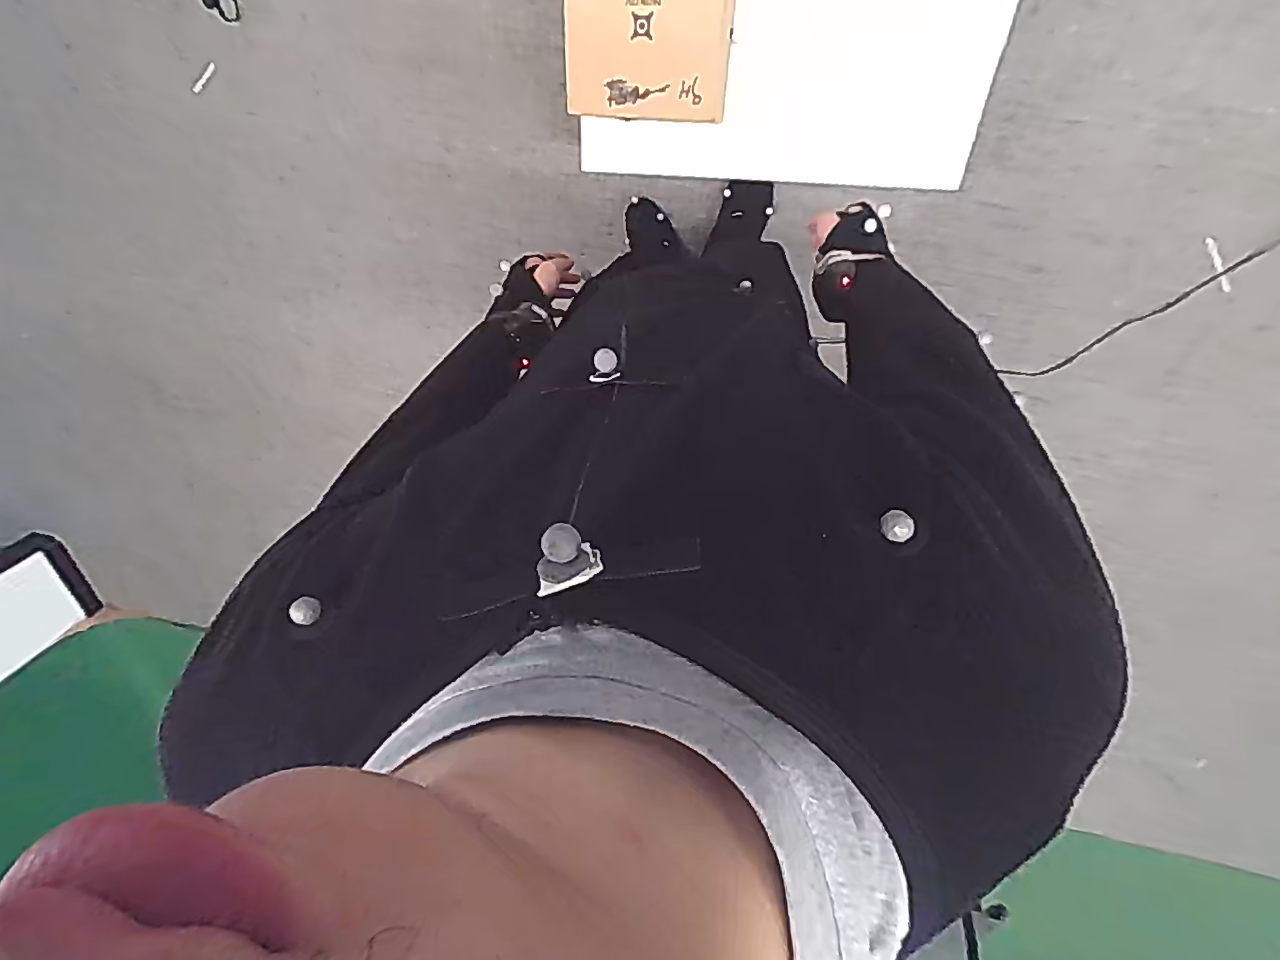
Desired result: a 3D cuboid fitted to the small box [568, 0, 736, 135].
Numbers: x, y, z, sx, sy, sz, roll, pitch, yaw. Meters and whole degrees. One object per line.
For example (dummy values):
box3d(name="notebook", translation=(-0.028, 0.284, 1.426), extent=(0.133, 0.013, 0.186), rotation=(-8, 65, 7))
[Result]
box3d(name="small box", translation=(0.019, -0.502, 0.614), extent=(0.168, 0.176, 0.179), rotation=(7, 122, 7))
